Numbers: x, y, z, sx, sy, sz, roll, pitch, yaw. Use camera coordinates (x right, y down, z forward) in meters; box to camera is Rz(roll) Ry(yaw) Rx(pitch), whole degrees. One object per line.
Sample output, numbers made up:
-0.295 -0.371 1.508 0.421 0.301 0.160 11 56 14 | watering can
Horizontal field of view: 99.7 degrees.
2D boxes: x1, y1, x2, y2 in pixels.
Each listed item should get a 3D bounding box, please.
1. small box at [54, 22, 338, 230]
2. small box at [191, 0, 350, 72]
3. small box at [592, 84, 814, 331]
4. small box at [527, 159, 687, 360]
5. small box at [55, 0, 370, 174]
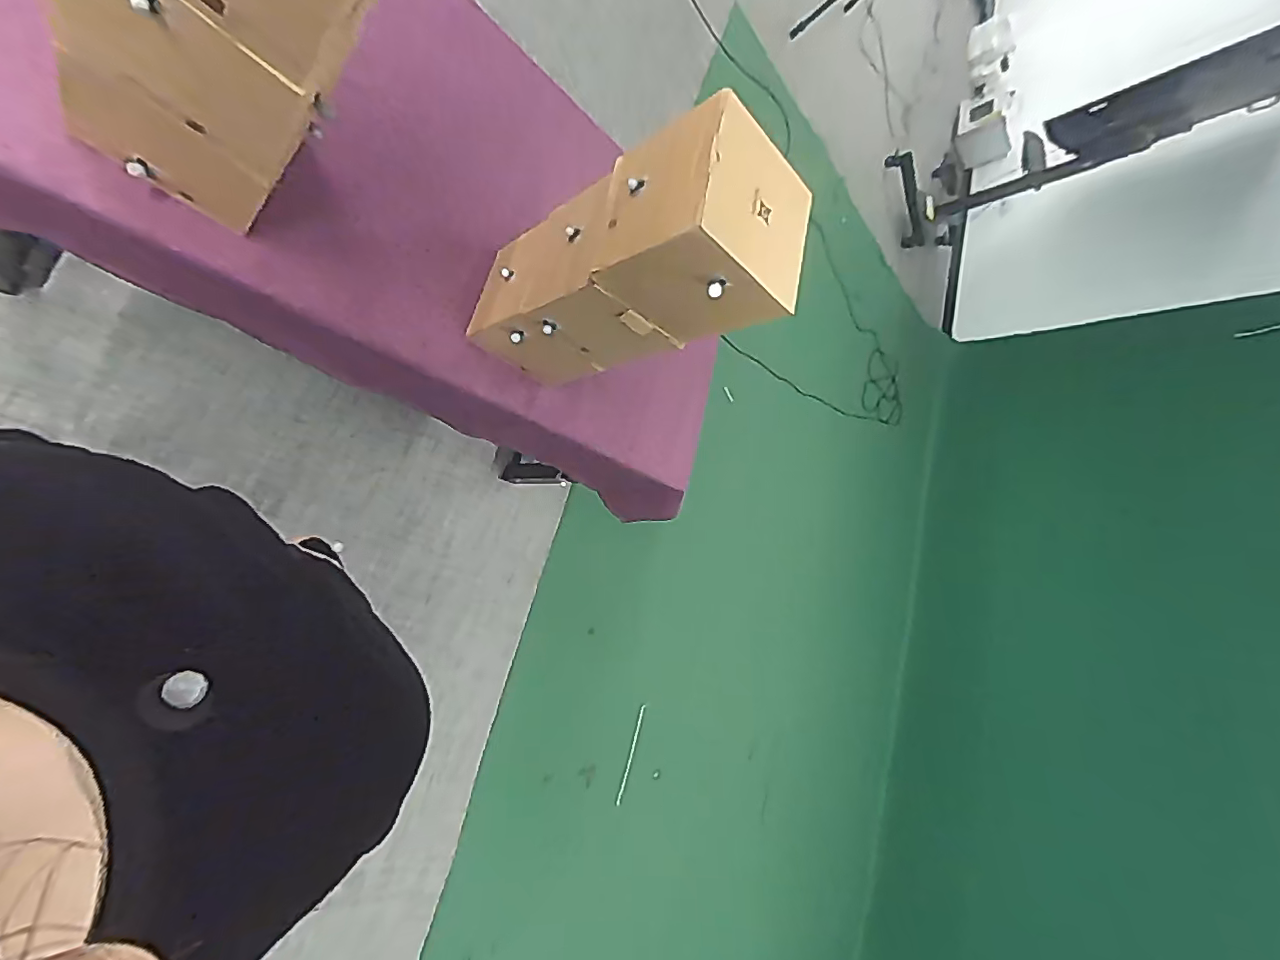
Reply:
-0.464 -0.411 0.578 0.168 0.176 0.179 30 70 -38 | small box
-0.244 -0.419 0.333 0.168 0.176 0.179 28 71 -39 | small box
0.074 -0.291 0.630 0.179 0.176 0.168 22 74 -40 | small box
-0.035 -0.286 0.751 0.168 0.176 0.179 24 72 -40 | small box
-0.352 -0.412 0.457 0.168 0.176 0.179 29 69 -37 | small box
